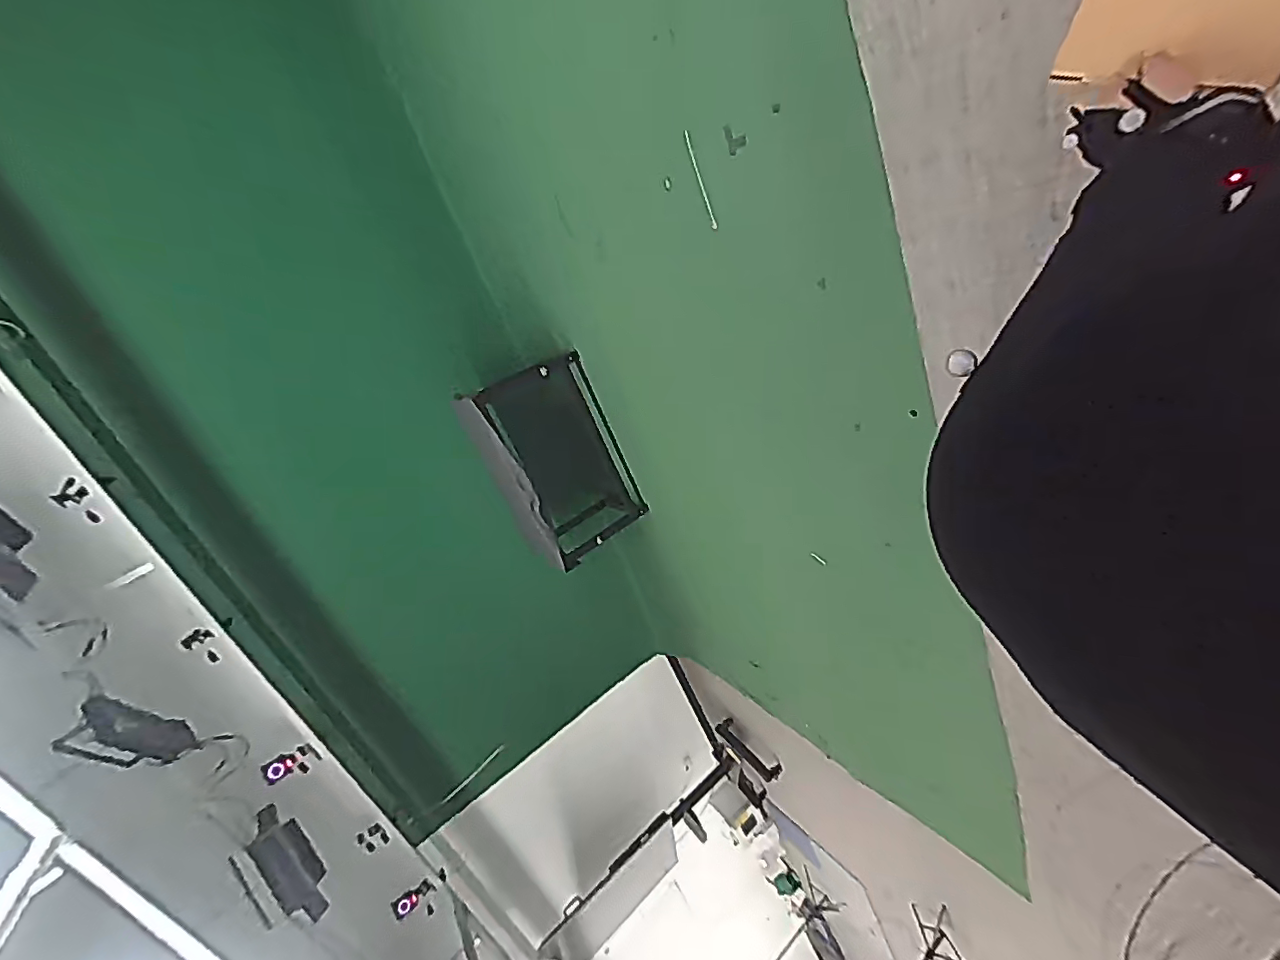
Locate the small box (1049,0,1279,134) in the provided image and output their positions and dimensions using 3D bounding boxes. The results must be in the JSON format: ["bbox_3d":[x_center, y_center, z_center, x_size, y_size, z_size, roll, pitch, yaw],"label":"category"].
[{"bbox_3d":[0.523,-0.446,0.505,0.168,0.179,0.176,31,123,30],"label":"small box"}]
